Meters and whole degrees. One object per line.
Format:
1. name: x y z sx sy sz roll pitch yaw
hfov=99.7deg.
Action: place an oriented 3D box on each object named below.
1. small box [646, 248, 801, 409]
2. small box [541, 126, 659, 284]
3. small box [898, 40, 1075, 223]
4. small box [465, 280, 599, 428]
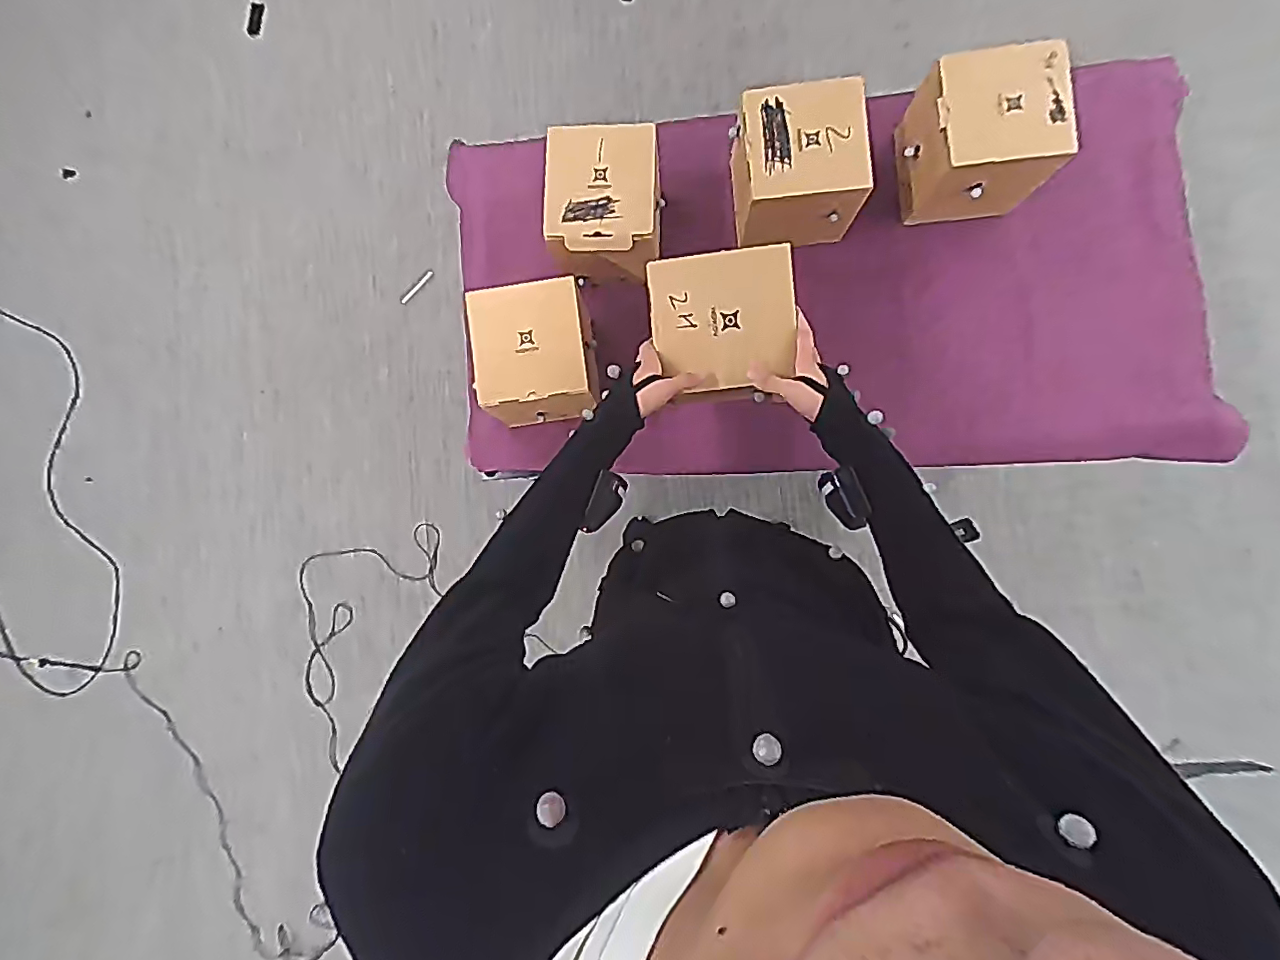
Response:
1. small box: 0.106 -0.190 0.726 0.179 0.176 0.168 -5 92 6
2. small box: -0.056 -0.430 0.873 0.168 0.176 0.179 1 86 4
3. small box: 0.515 -0.520 0.833 0.179 0.176 0.168 -5 88 5
4. small box: -0.164 -0.192 0.864 0.168 0.176 0.179 -9 86 1
